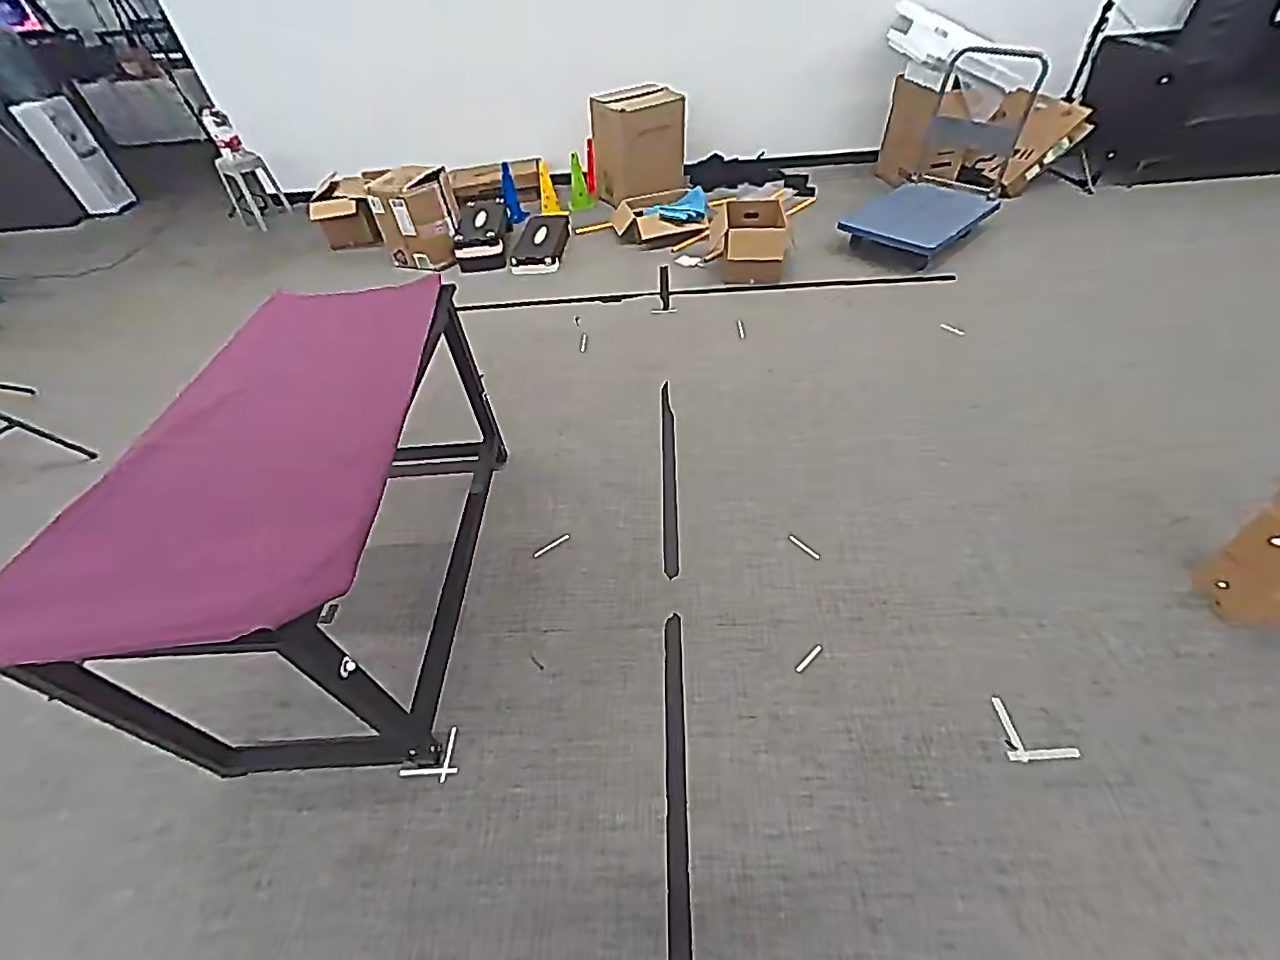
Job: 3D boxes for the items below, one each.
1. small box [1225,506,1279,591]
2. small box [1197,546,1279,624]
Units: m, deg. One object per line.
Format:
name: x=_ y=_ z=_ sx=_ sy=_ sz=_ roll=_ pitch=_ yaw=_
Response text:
small box: x=1.727 y=0.179 z=1.412 sx=0.168 sy=0.176 sz=0.179 roll=-7 pitch=45 yaw=-1
small box: x=1.748 y=0.295 z=1.524 sx=0.179 sy=0.176 sz=0.168 roll=-1 pitch=47 yaw=4
